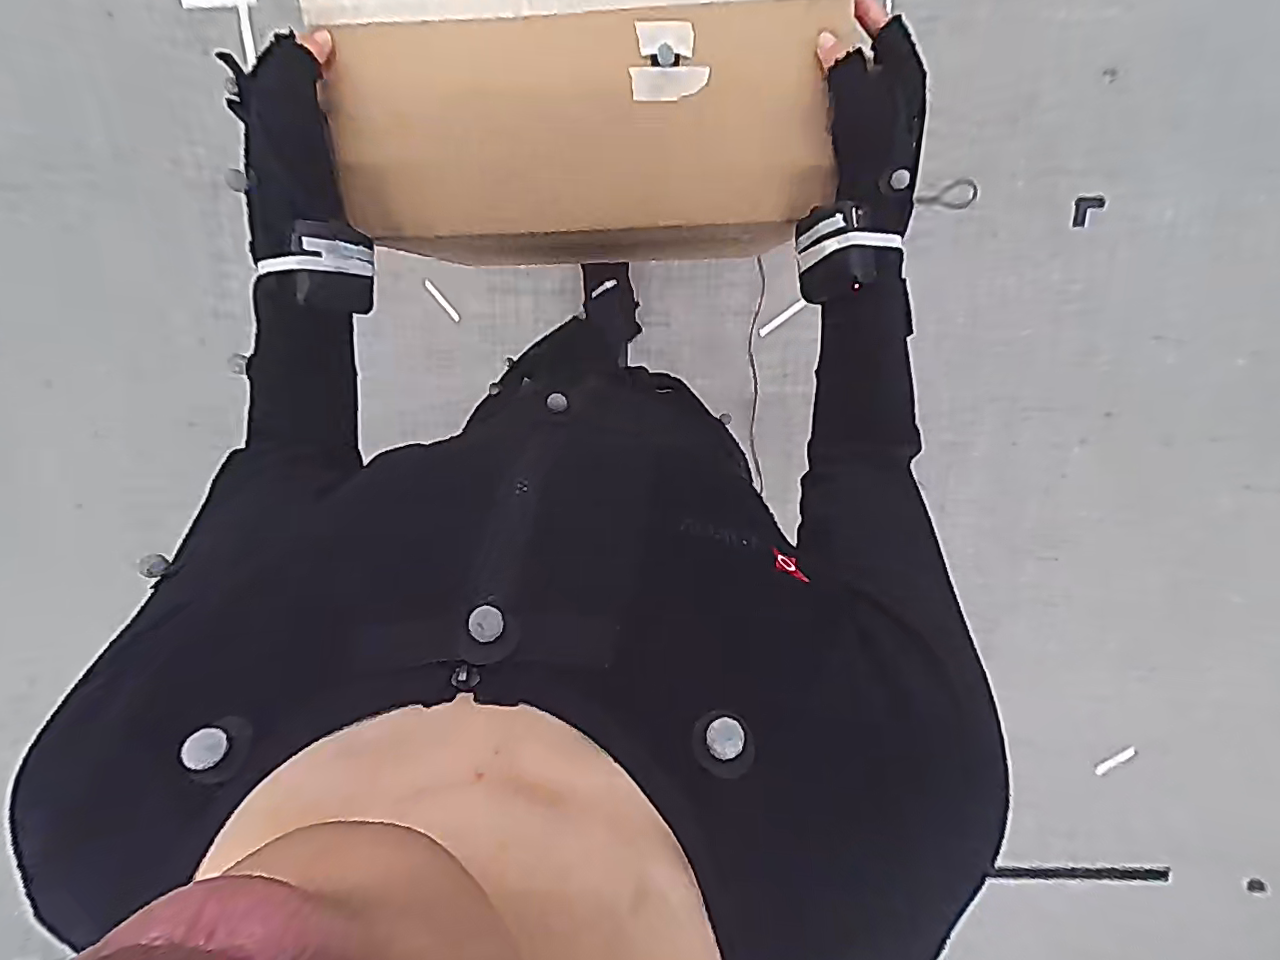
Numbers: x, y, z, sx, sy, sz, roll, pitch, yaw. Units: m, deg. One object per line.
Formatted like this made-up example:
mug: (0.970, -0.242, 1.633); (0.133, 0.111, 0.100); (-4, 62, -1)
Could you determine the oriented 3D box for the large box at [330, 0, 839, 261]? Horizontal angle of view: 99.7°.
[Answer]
large box: (-0.045, -0.416, 0.559); (0.408, 0.320, 0.320); (-2, 108, 1)
